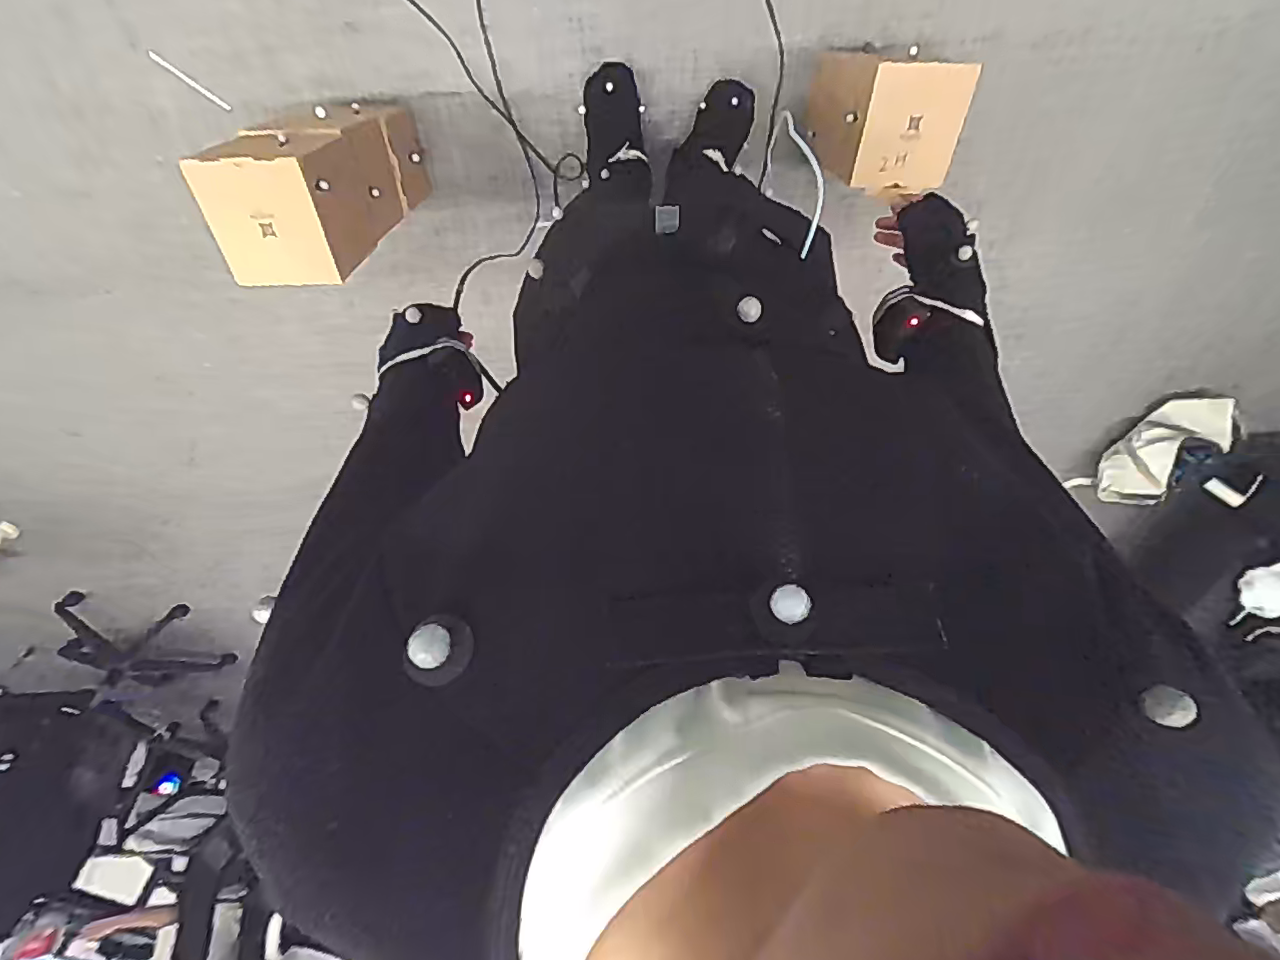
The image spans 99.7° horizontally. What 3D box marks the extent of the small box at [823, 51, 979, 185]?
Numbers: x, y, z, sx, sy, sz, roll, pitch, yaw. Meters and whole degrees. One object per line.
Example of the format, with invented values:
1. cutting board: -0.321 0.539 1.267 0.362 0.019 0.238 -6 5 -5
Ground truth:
1. small box: 0.436 -0.631 0.941 0.168 0.176 0.179 -1 133 -2

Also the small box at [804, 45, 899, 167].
1. small box: 0.433 -0.726 1.054 0.168 0.176 0.179 0 132 -4

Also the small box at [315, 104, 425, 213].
1. small box: -0.550 -0.648 1.090 0.179 0.176 0.168 -2 131 -1

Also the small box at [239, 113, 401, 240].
1. small box: -0.552 -0.539 0.966 0.168 0.176 0.179 -1 131 -1

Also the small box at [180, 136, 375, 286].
1. small box: -0.547 -0.424 0.851 0.168 0.176 0.179 -2 131 0
